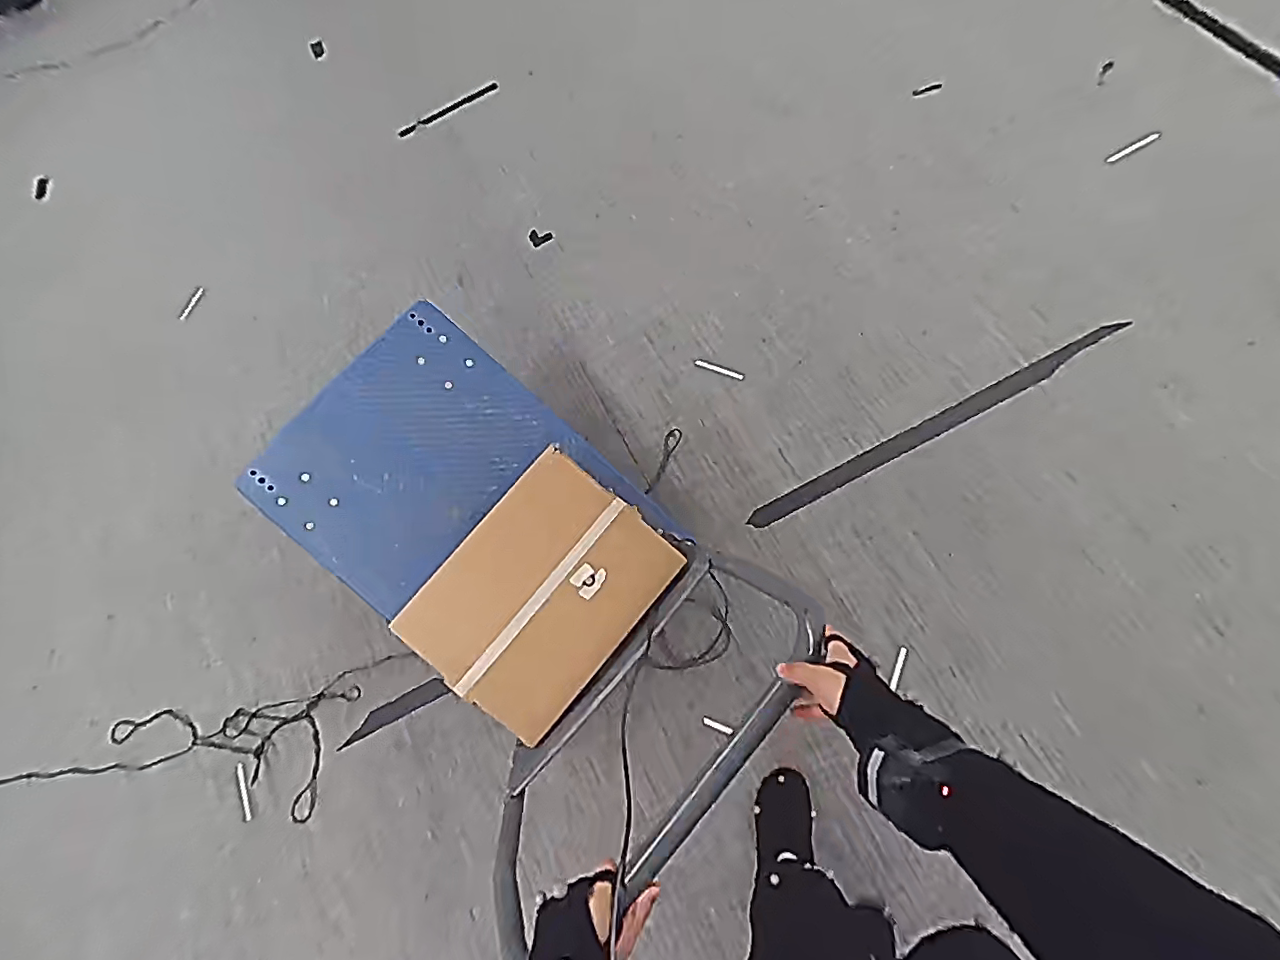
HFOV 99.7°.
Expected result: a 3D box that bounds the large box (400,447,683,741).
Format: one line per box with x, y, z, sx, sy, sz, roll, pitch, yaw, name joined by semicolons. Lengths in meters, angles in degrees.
-0.175;0.205;1.065;0.320;0.320;0.408;40;82;-1;large box
